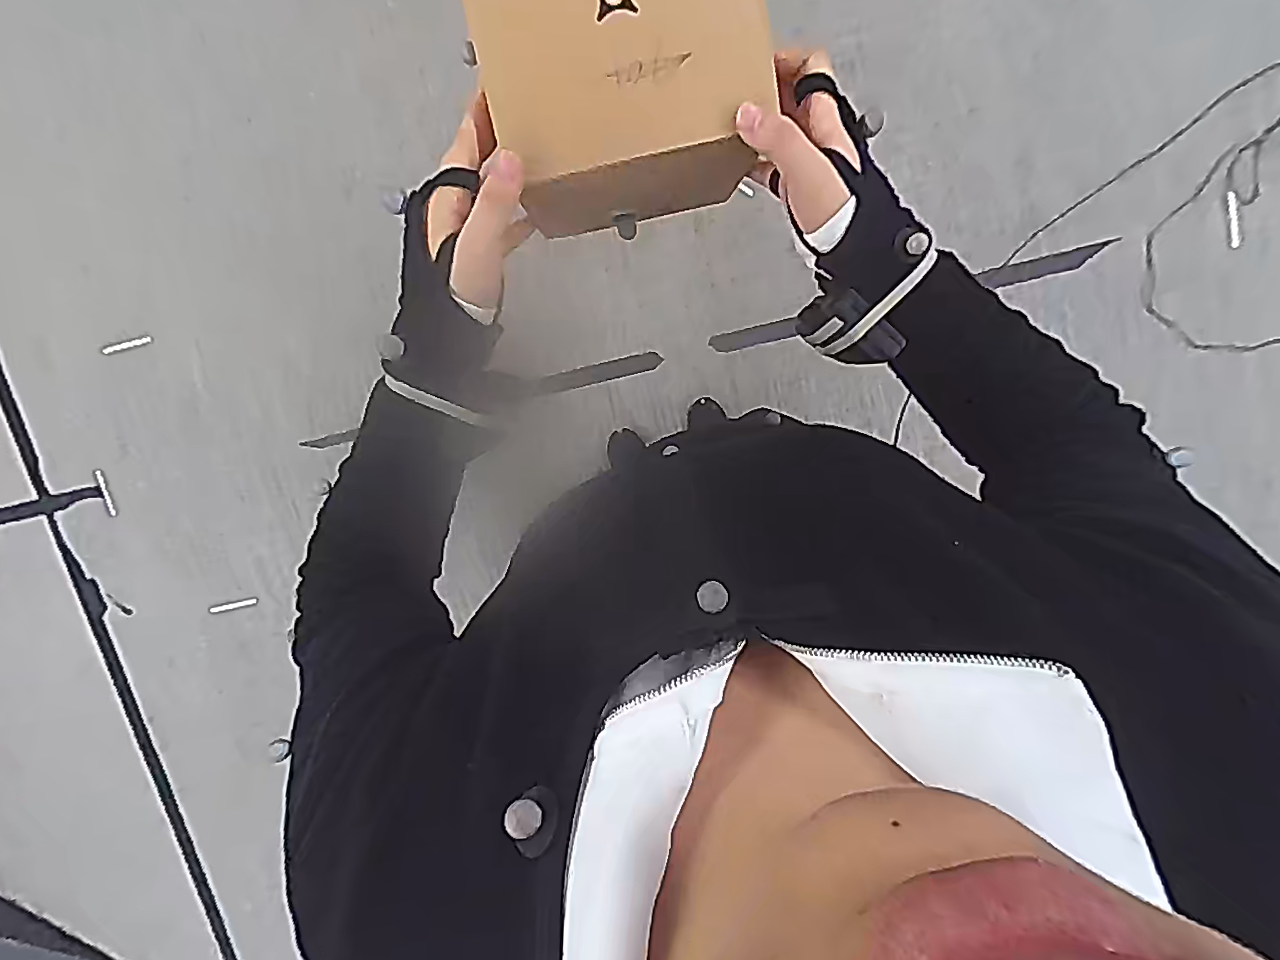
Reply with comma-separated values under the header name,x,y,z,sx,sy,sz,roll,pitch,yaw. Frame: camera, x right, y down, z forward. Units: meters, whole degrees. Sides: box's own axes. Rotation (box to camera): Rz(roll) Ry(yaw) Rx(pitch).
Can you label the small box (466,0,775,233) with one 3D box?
name,x,y,z,sx,sy,sz,roll,pitch,yaw
small box,-0.019,-0.295,0.377,0.168,0.176,0.179,-12,104,1
